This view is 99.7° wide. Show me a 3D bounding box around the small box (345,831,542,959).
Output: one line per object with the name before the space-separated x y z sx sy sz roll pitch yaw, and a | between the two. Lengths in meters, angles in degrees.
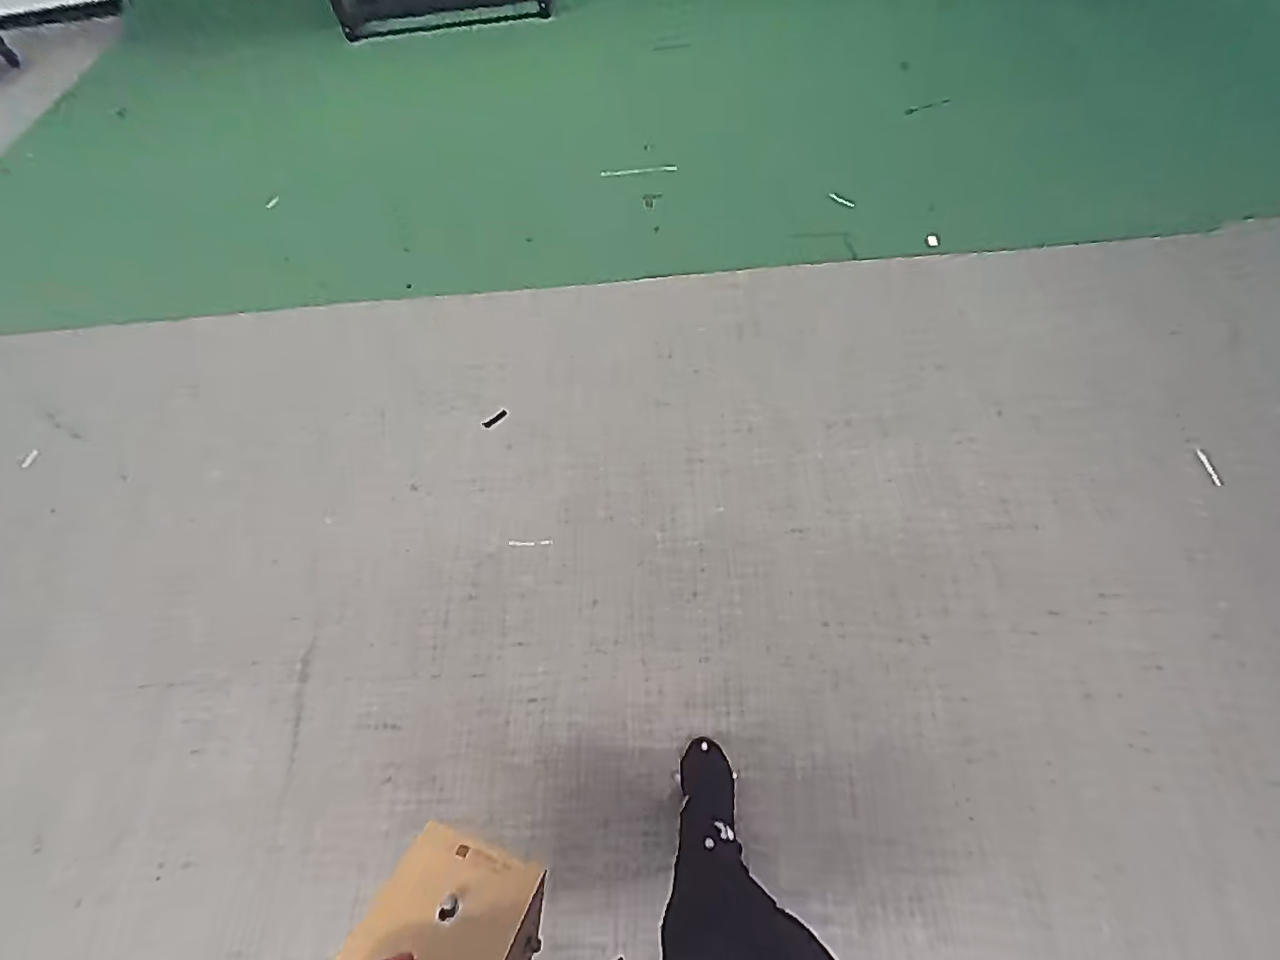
small box | -0.225 0.560 0.633 0.168 0.179 0.176 13 25 11
